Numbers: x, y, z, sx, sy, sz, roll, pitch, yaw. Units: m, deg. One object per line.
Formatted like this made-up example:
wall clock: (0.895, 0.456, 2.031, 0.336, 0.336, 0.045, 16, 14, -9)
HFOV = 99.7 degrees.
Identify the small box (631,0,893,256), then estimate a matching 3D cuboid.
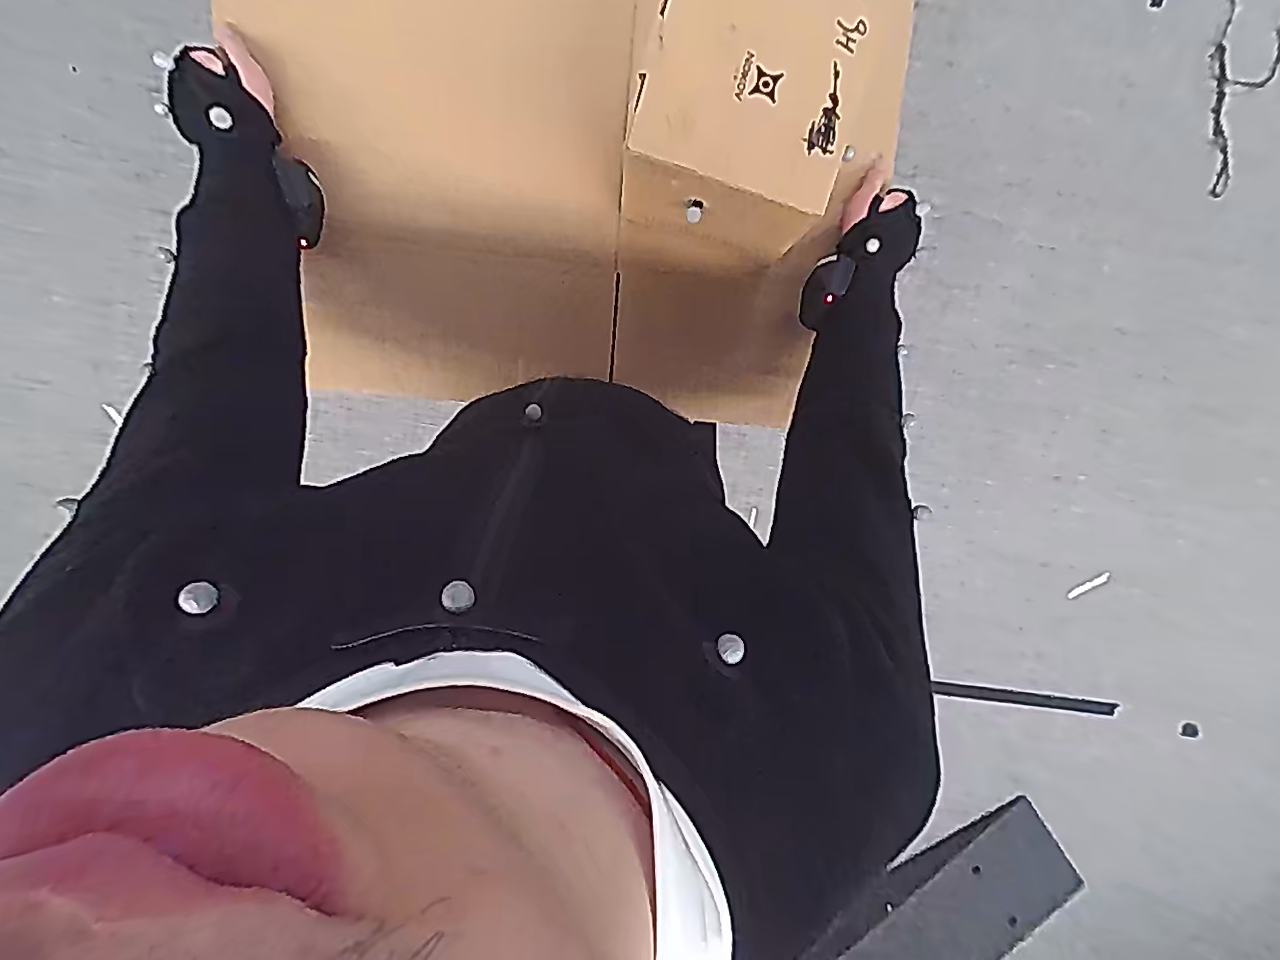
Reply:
small box: (0.098, -0.337, 0.520, 0.179, 0.176, 0.168, 17, 98, -3)
